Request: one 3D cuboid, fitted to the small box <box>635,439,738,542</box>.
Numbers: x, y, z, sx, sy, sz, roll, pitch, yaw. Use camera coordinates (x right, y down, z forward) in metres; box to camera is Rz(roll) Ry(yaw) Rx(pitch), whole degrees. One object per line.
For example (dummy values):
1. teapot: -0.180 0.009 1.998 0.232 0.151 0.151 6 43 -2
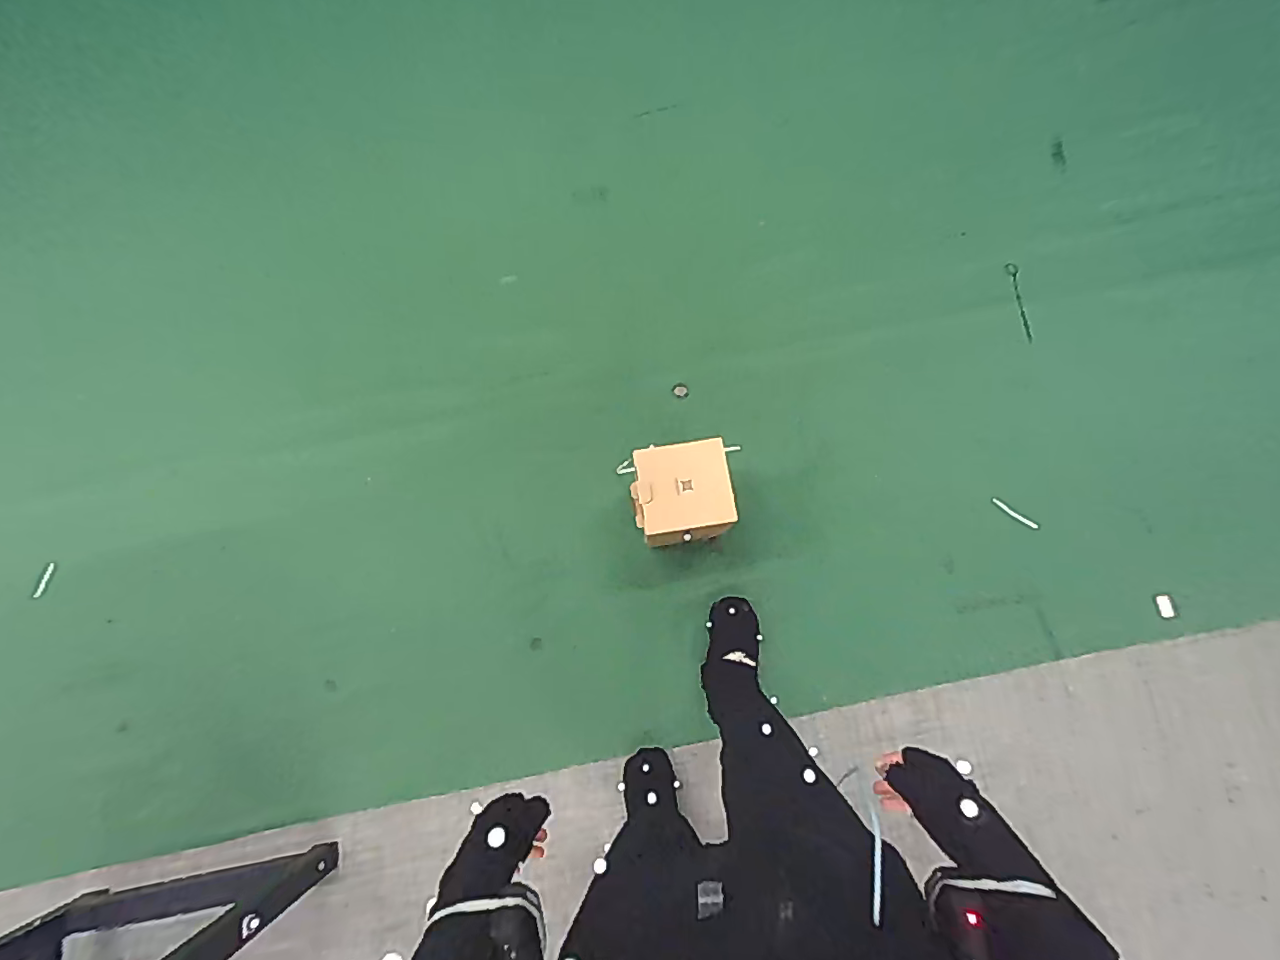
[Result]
1. small box: 0.087 0.027 1.091 0.179 0.176 0.168 -9 78 0
